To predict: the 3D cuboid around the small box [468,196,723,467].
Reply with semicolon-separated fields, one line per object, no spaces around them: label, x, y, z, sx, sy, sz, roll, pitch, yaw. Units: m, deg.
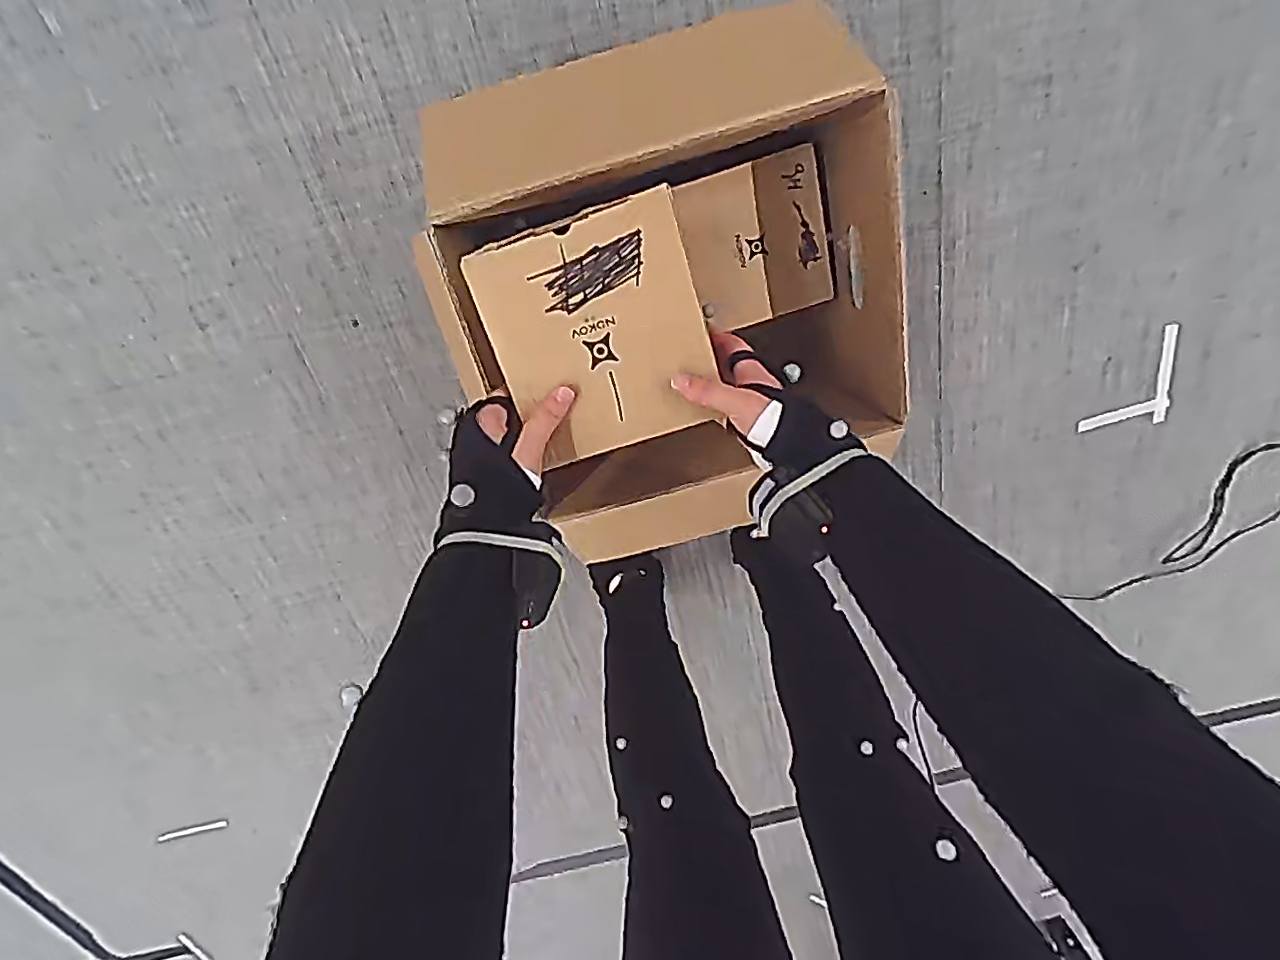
small box;-0.029;-0.134;0.503;0.168;0.176;0.179;-15;108;8
